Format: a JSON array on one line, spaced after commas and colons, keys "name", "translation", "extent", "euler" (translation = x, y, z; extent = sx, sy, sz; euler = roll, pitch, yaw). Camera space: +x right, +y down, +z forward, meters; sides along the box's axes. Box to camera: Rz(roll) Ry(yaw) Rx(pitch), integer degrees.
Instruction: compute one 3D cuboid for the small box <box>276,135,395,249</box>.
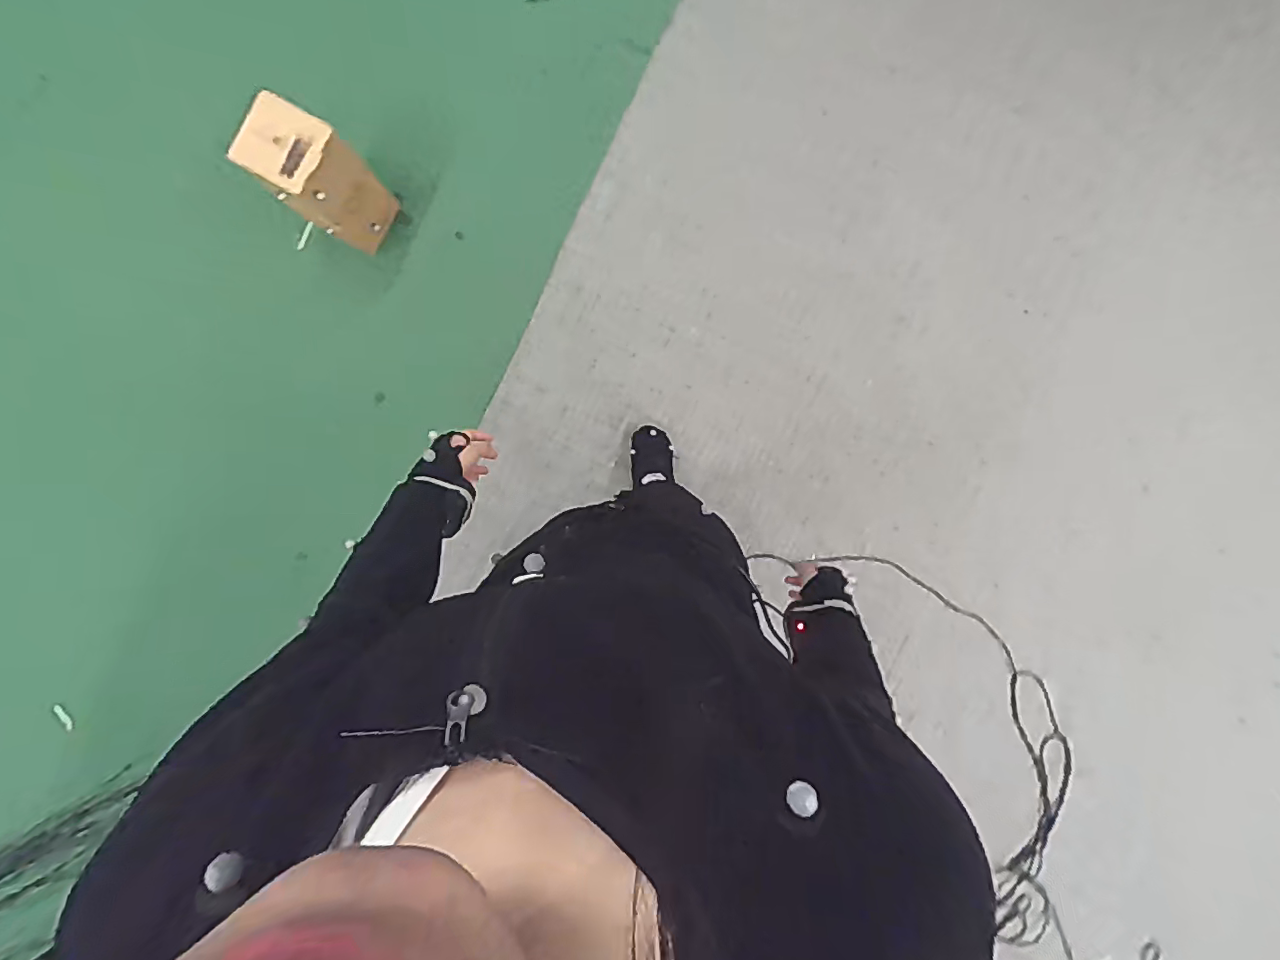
[{"name": "small box", "translation": [-0.777, -0.731, 1.397], "extent": [0.179, 0.176, 0.168], "euler": [29, 91, -2]}]
